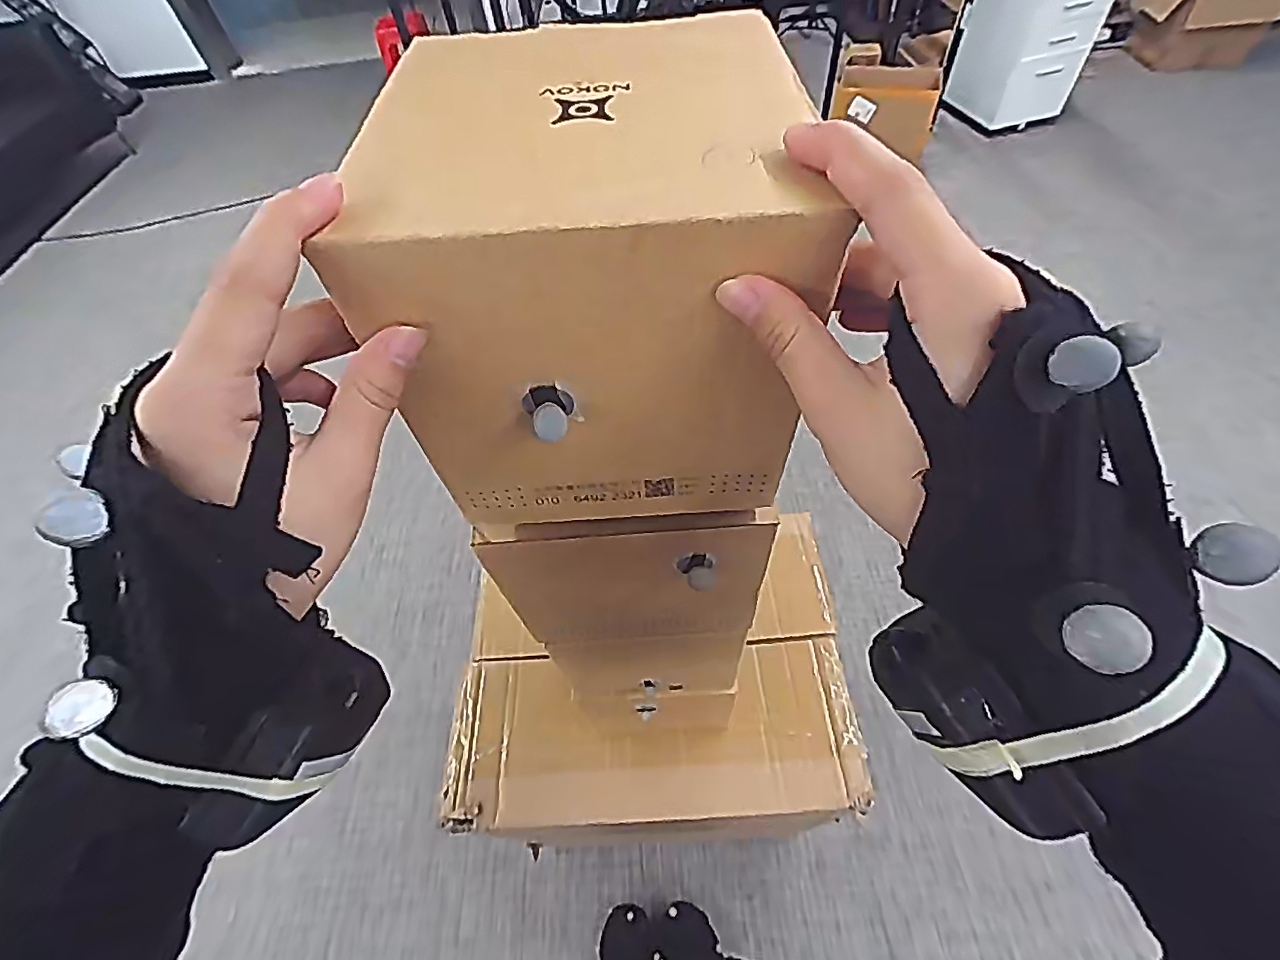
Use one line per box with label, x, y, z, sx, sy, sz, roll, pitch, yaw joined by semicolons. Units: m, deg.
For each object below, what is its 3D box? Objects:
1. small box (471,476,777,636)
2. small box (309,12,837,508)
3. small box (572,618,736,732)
small box;-0.007;0.009;0.413;0.179;0.176;0.168;-5;54;2
small box;-0.019;-0.097;0.274;0.168;0.176;0.179;-4;54;1
small box;0.019;0.208;0.674;0.179;0.176;0.168;-4;54;2
